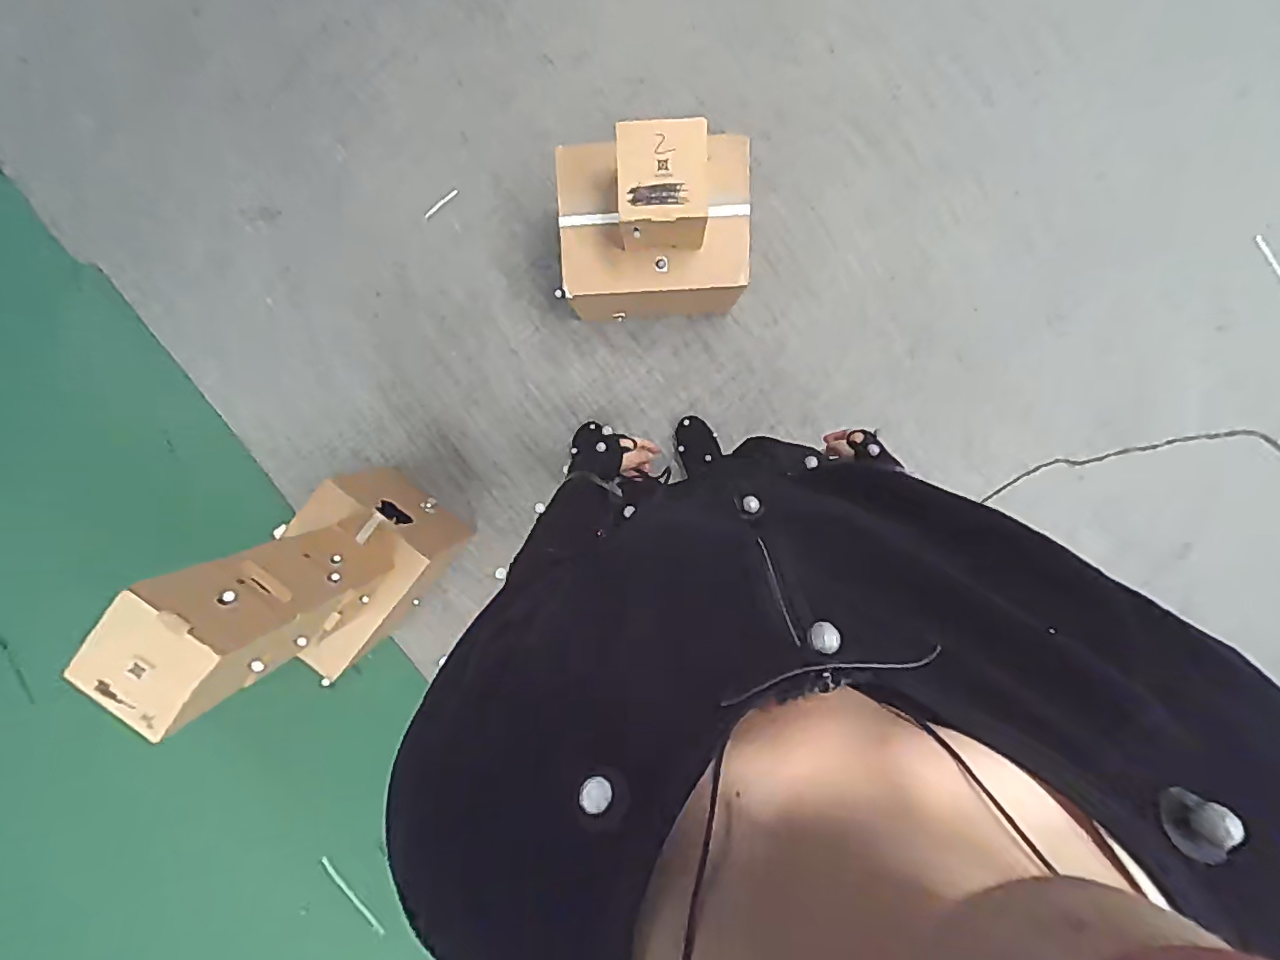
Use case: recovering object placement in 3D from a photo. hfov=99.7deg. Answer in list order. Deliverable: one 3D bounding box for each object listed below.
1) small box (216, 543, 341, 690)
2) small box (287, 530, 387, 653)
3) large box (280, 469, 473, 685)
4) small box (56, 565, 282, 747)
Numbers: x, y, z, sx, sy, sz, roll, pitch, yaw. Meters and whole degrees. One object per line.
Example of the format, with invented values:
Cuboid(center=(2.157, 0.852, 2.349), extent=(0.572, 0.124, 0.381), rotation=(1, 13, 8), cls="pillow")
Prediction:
Cuboid(center=(-0.695, 0.240, 1.000), extent=(0.168, 0.176, 0.179), rotation=(39, 96, -2), cls="small box")
Cuboid(center=(-0.688, 0.228, 1.163), extent=(0.179, 0.176, 0.168), rotation=(41, 95, -2), cls="small box")
Cuboid(center=(-0.715, 0.228, 1.409), extent=(0.320, 0.320, 0.408), rotation=(40, 97, -1), cls="large box")
Cuboid(center=(-0.705, 0.256, 0.836), extent=(0.168, 0.176, 0.179), rotation=(40, 94, -2), cls="small box")
